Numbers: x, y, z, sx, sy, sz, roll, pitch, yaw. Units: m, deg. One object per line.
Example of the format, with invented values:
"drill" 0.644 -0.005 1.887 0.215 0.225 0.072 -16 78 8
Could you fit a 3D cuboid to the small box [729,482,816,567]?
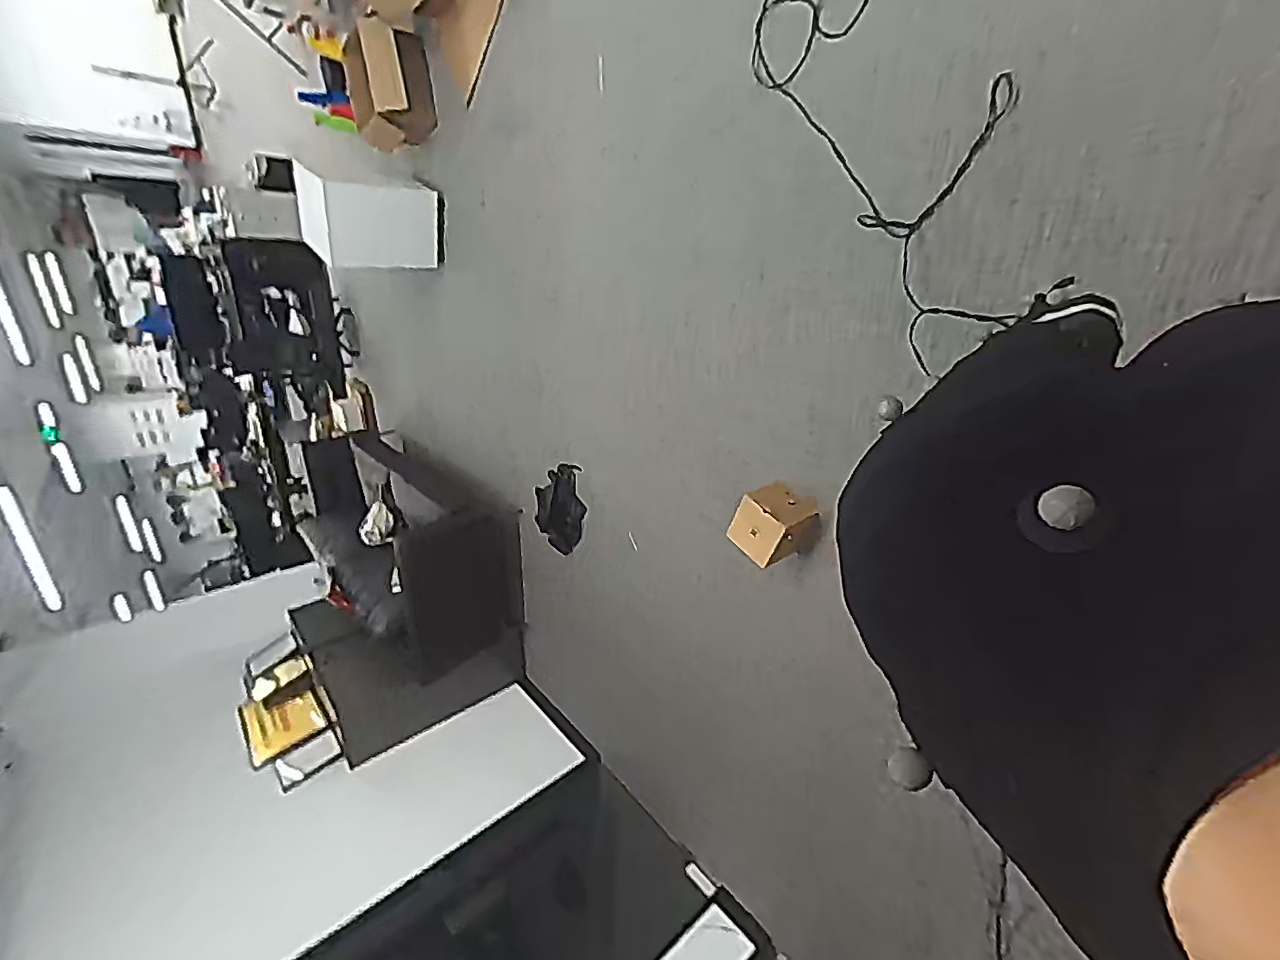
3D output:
"small box" 0.408 0.131 1.655 0.168 0.176 0.179 44 134 32
